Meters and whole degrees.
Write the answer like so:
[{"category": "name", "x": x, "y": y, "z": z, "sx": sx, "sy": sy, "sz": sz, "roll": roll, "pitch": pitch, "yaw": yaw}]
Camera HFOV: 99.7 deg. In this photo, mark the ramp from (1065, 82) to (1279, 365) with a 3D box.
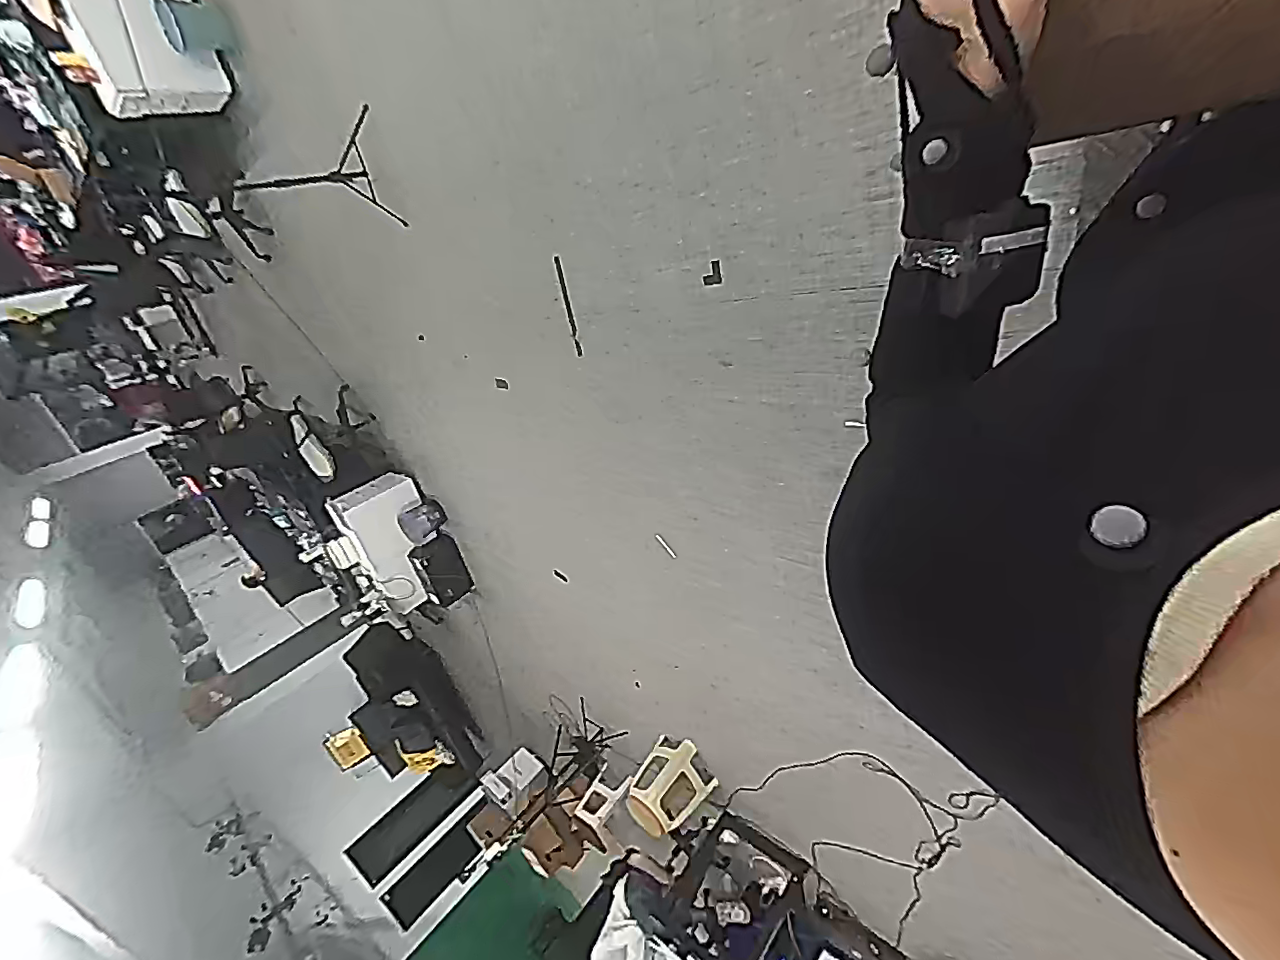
[{"category": "ramp", "x": 0.957, "y": -0.608, "z": 0.779, "sx": 0.509, "sy": 0.206, "sz": 0.991, "roll": 9, "pitch": 125, "yaw": 42}]
